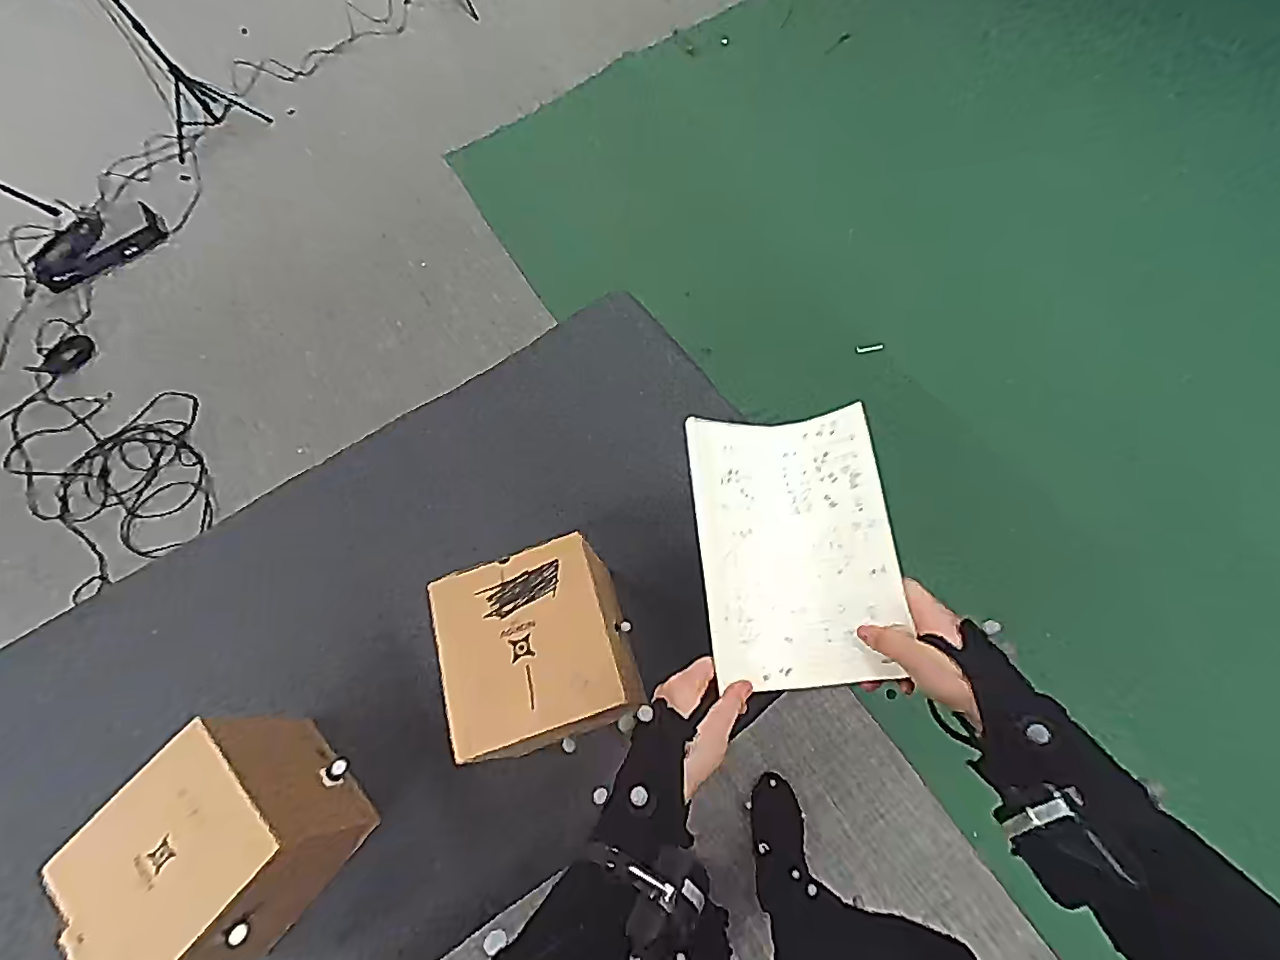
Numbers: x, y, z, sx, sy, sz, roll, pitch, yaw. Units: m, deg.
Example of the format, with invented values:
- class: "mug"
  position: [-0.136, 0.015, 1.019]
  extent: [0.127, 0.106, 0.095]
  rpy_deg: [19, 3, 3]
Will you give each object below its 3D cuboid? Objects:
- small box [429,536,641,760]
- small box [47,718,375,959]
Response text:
- class: "small box"
  position: [-0.107, 0.189, 0.597]
  extent: [0.168, 0.176, 0.179]
  rpy_deg: [-20, 65, 0]
- class: "small box"
  position: [-0.426, 0.378, 0.566]
  extent: [0.168, 0.176, 0.179]
  rpy_deg: [36, 75, 20]
